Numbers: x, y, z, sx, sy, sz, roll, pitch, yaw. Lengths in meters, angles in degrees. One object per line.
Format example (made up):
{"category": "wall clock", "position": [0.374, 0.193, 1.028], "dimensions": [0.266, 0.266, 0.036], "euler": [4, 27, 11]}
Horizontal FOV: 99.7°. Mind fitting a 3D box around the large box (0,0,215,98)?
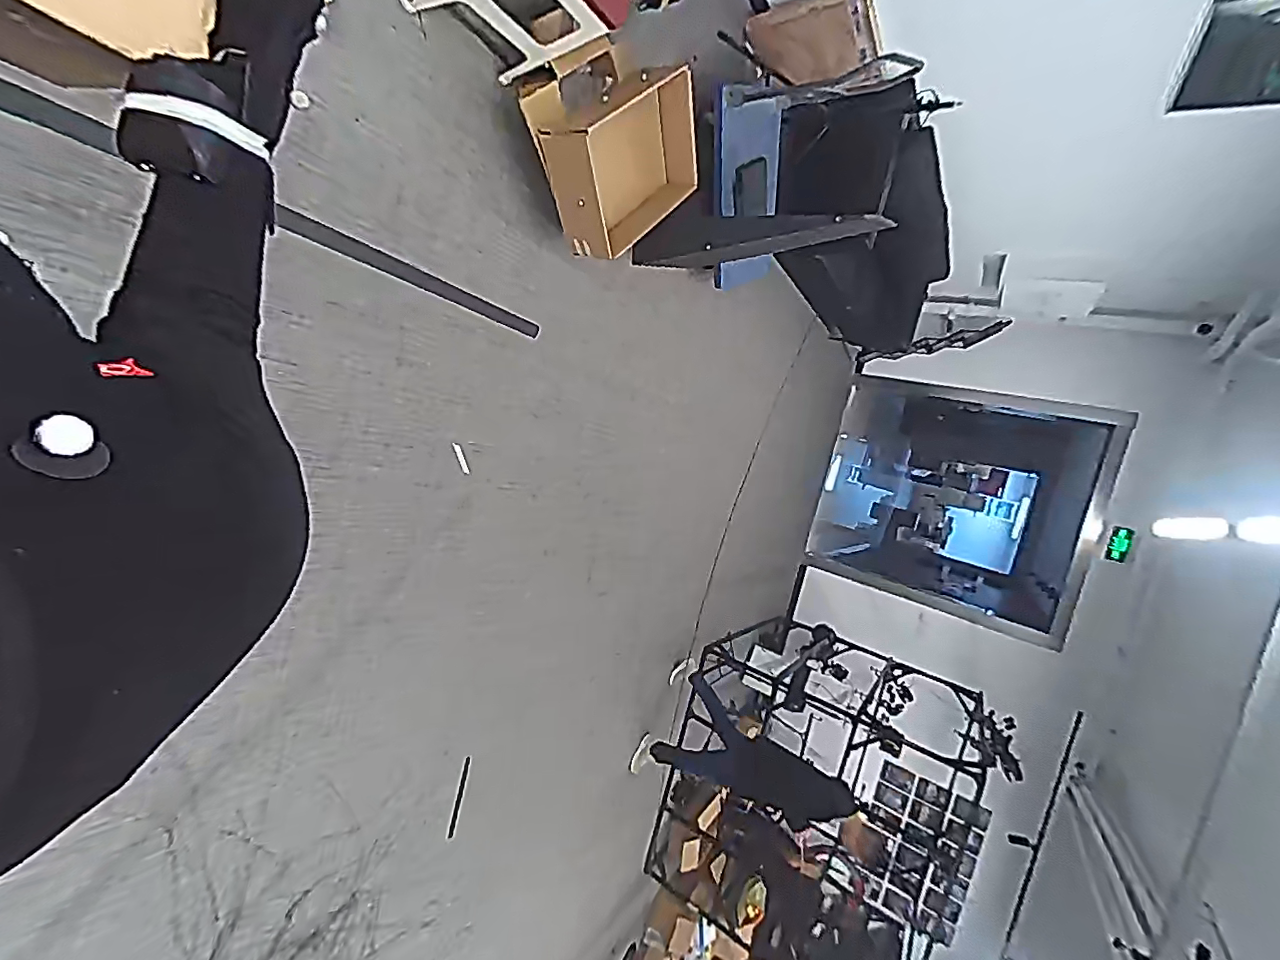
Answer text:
{"category": "large box", "position": [-0.493, -0.468, 0.262], "dimensions": [0.408, 0.320, 0.320], "euler": [2, 110, -61]}
